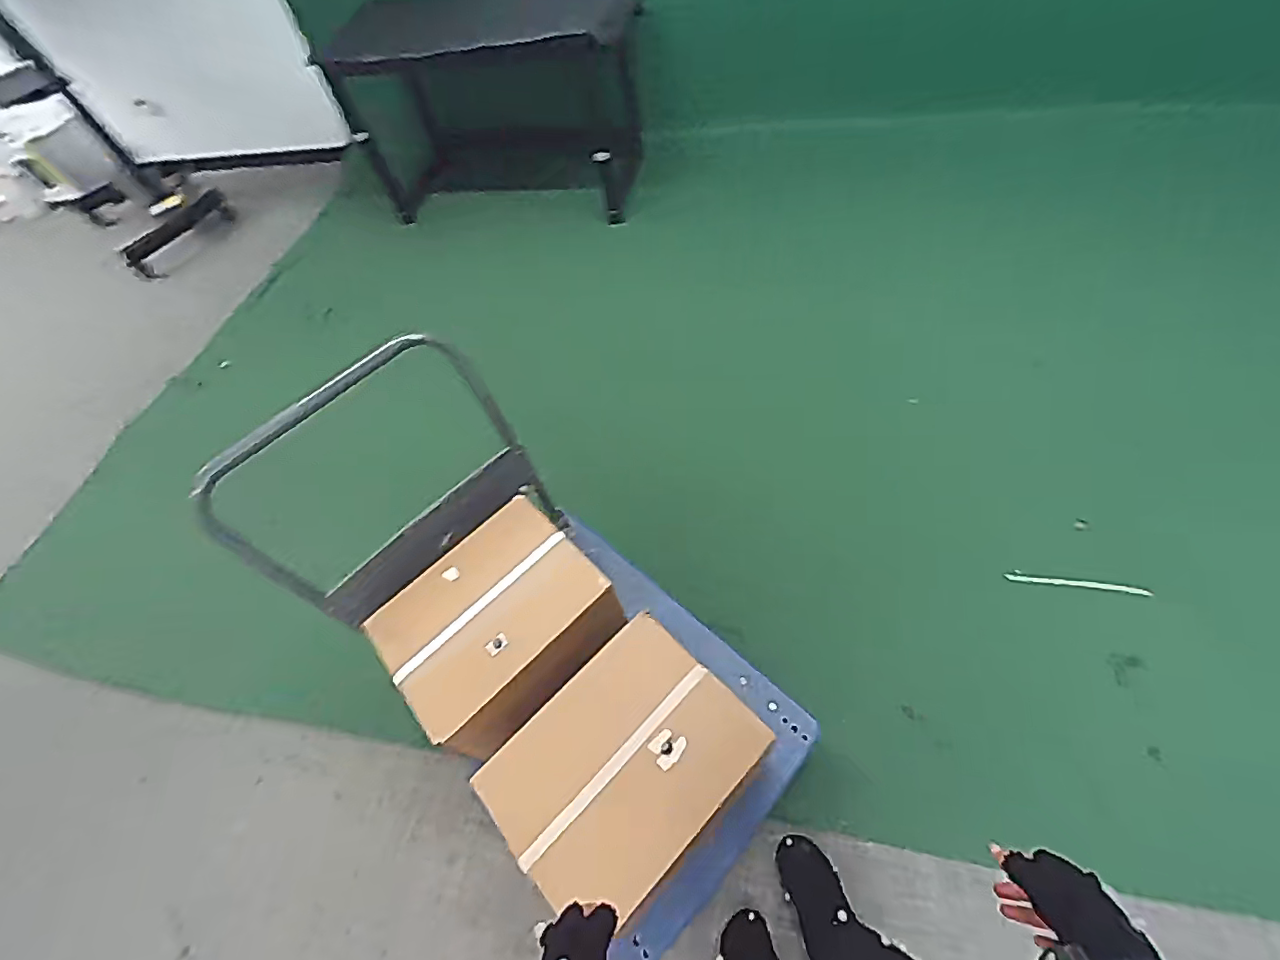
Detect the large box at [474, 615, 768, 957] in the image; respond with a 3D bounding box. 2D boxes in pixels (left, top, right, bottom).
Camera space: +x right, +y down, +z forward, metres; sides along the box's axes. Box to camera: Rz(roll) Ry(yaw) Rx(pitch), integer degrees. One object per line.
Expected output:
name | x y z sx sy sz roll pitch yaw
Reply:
large box | -0.012 0.542 0.994 0.408 0.320 0.320 -41 58 -19
